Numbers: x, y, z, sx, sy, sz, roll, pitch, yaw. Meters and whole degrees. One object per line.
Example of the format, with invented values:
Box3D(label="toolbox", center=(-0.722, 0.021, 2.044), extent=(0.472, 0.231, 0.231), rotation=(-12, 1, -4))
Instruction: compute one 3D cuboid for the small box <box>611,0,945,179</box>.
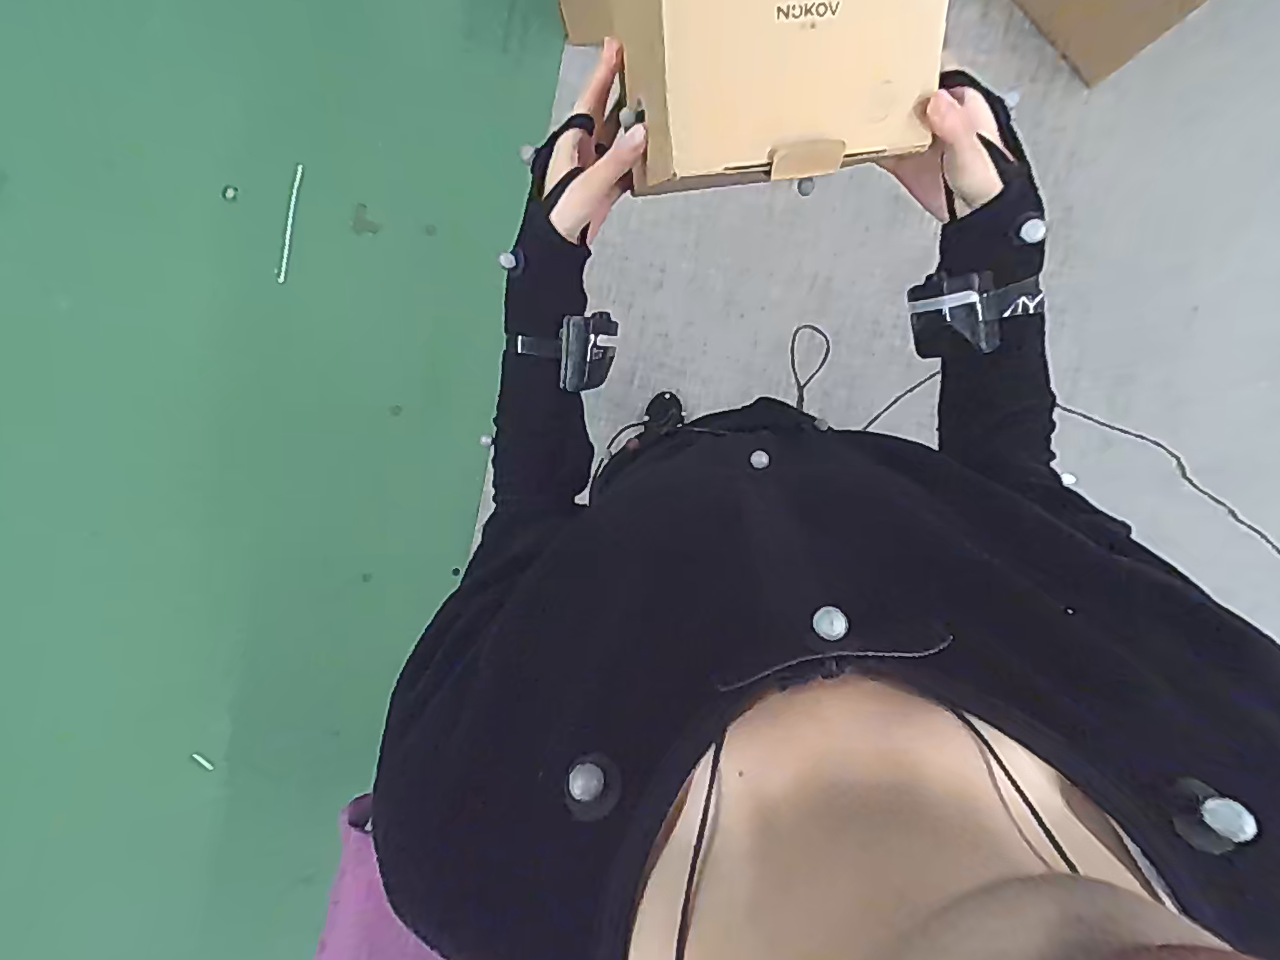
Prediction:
Box3D(label="small box", center=(0.074, -0.304, 0.354), extent=(0.168, 0.176, 0.179), rotation=(-9, 115, -6))
